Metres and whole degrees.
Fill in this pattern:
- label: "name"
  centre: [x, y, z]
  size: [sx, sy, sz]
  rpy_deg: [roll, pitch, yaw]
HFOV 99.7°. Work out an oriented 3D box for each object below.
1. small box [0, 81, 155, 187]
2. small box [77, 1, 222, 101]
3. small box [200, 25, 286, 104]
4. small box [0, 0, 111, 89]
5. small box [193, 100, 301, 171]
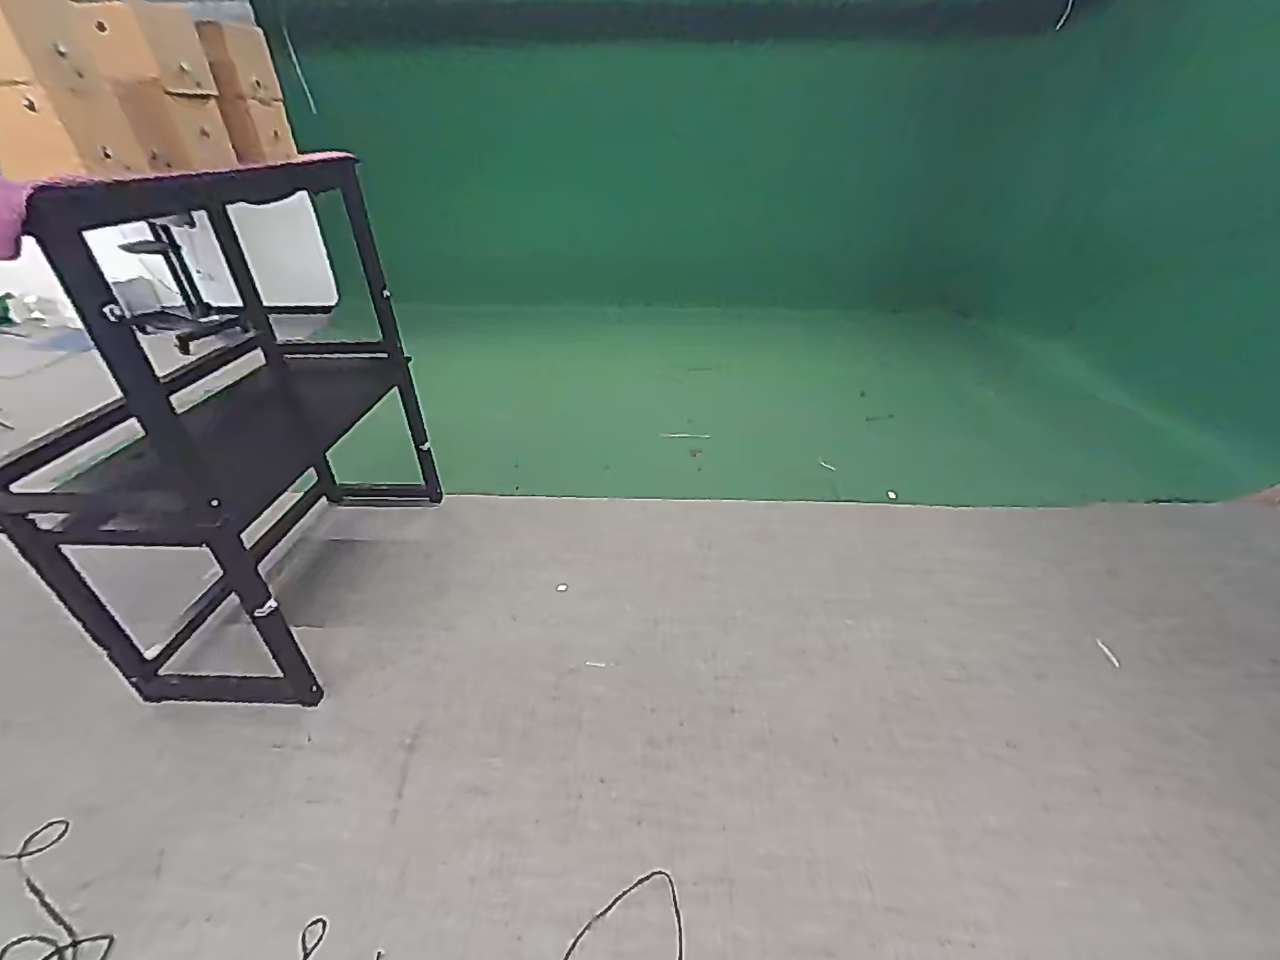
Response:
- label: "small box"
  centre: [-1.166, -0.696, 1.100]
  size: [0.179, 0.176, 0.168]
  rpy_deg: [-2, 32, -1]
- label: "small box"
  centre: [-1.165, -1.015, 1.290]
  size: [0.179, 0.176, 0.168]
  rpy_deg: [3, 34, 4]
- label: "small box"
  centre: [-1.161, -1.173, 1.537]
  size: [0.179, 0.176, 0.168]
  rpy_deg: [4, 35, 4]
- label: "small box"
  centre: [-1.179, -0.836, 1.014]
  size: [0.179, 0.176, 0.168]
  rpy_deg: [-2, 33, -1]
- label: "small box"
  centre: [-1.163, -1.031, 1.618]
  size: [0.179, 0.176, 0.168]
  rpy_deg: [2, 33, 2]
